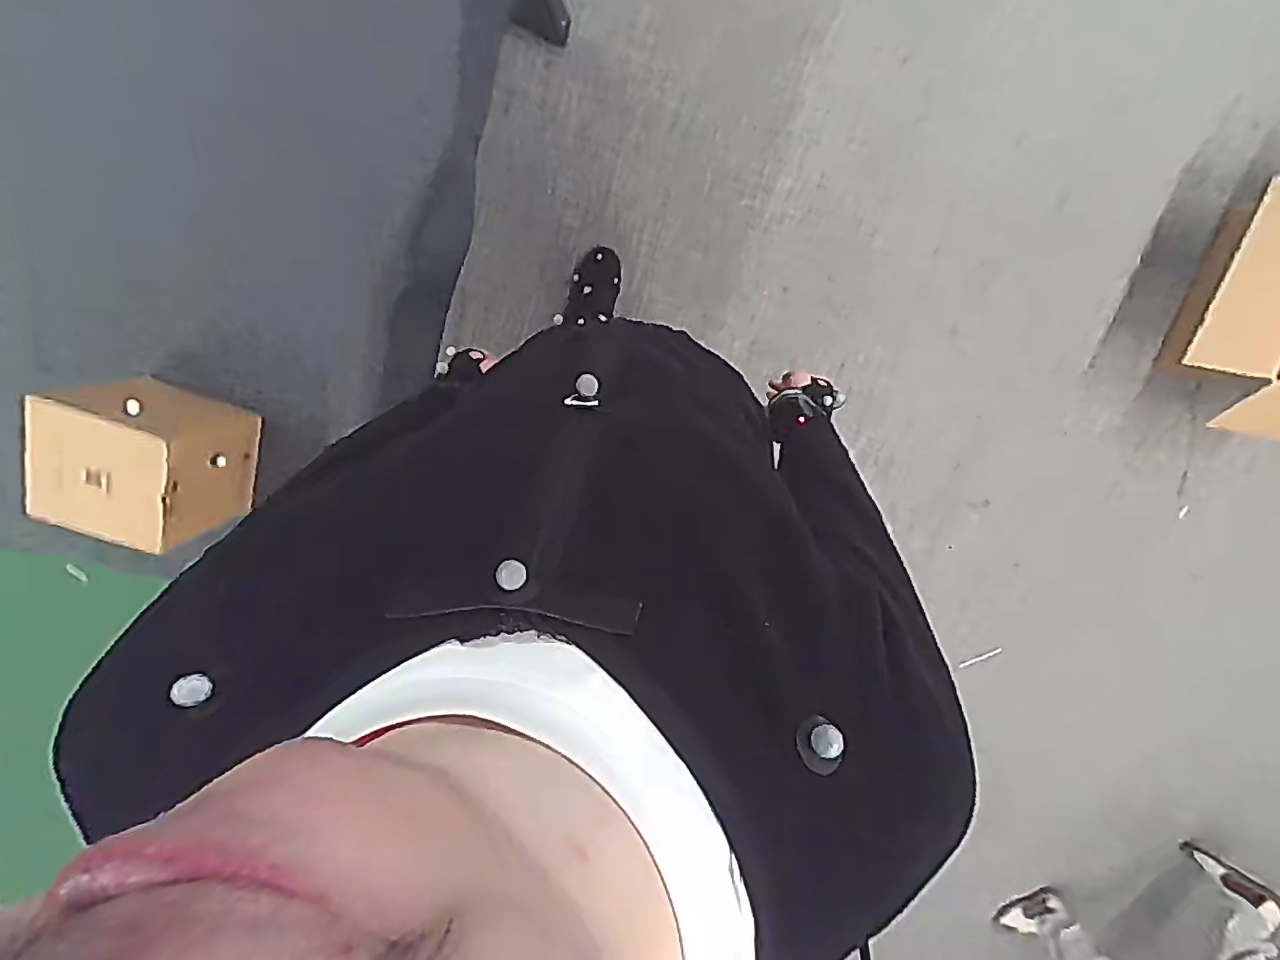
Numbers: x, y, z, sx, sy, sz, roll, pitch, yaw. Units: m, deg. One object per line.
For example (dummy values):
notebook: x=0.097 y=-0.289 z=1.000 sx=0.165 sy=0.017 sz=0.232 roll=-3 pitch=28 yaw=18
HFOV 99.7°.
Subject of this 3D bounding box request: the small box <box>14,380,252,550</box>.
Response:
small box: x=-0.682 y=-0.031 z=0.745 sx=0.179 sy=0.176 sz=0.168 roll=19 pitch=106 yaw=-4
